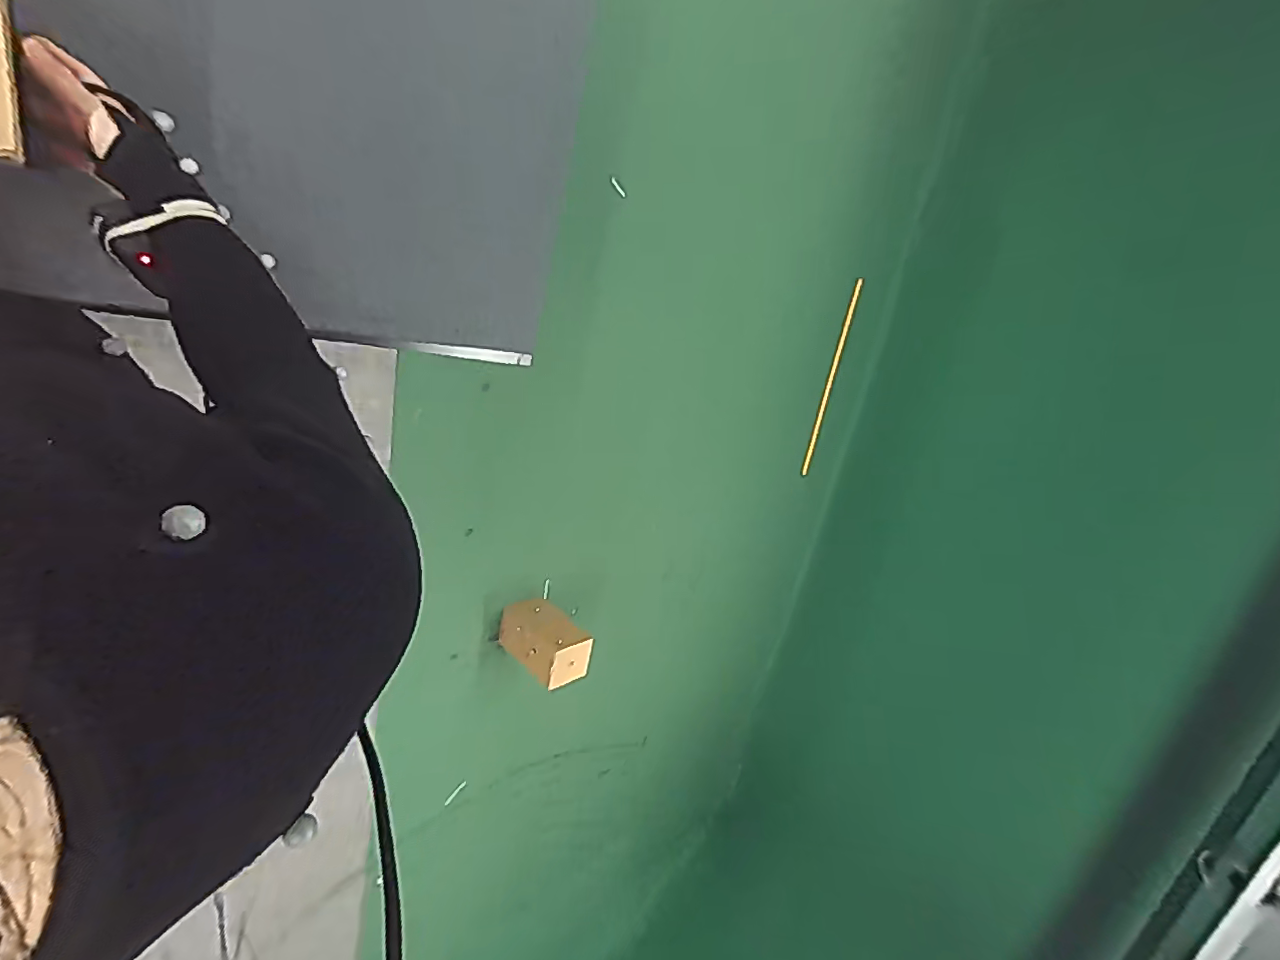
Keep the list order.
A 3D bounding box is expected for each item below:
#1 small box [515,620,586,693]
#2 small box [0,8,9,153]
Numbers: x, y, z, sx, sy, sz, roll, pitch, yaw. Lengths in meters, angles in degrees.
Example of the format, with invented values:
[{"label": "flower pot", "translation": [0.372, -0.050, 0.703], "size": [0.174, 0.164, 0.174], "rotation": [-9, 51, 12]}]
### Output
[{"label": "small box", "translation": [-0.329, 0.635, 1.974], "size": [0.179, 0.176, 0.168], "rotation": [-5, 114, -47]}, {"label": "small box", "translation": [-0.524, -0.328, 0.333], "size": [0.168, 0.176, 0.179], "rotation": [-5, 113, -46]}]
